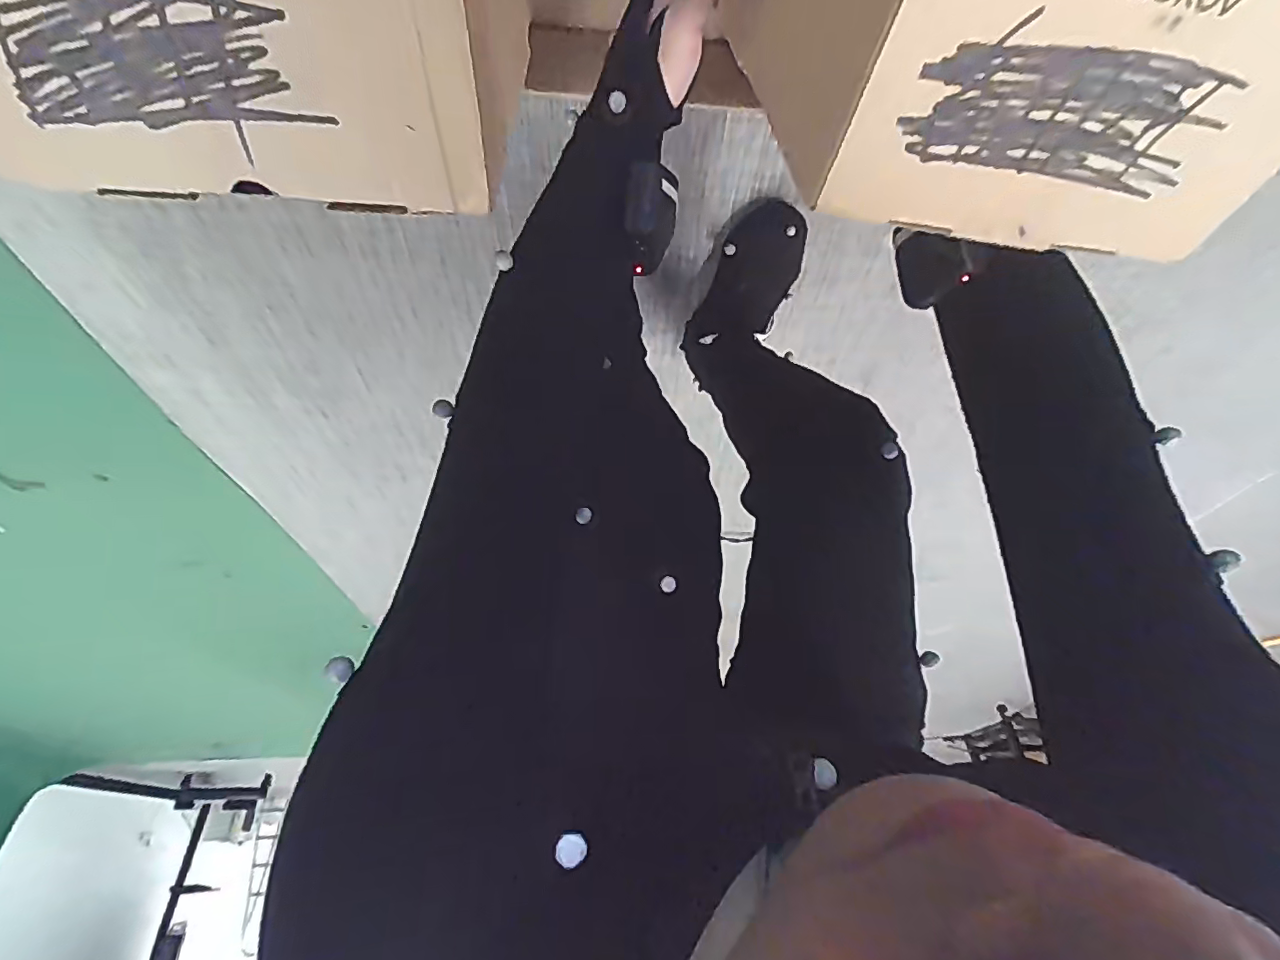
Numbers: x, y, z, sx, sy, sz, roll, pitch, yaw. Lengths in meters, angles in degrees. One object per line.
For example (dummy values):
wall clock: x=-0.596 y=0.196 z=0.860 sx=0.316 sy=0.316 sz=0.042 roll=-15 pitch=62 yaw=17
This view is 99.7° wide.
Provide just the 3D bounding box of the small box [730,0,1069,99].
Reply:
small box: x=0.144 y=-0.343 z=0.288 sx=0.168 sy=0.176 sz=0.179 roll=1 pitch=146 yaw=-7
